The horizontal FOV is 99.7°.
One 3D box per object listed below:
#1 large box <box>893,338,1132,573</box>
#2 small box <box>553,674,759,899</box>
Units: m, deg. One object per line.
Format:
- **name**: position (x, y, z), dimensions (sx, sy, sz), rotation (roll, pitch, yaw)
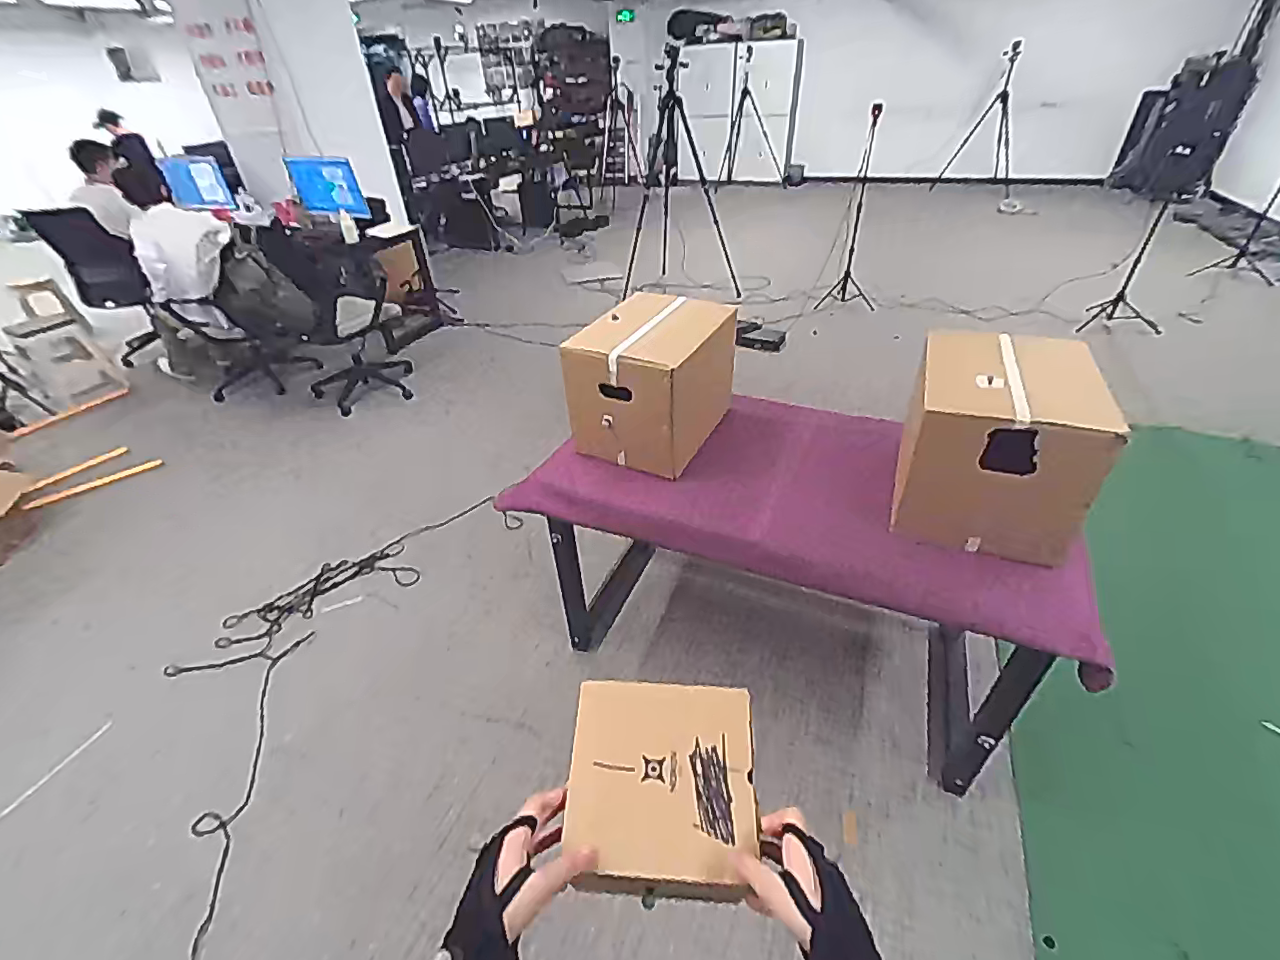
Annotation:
- **large box**: position (0.748, -0.074, 1.163), dimensions (0.320, 0.320, 0.408), rotation (11, 39, 22)
- **small box**: position (0.020, 0.322, 0.564), dimensions (0.179, 0.176, 0.168), rotation (3, 47, 4)
